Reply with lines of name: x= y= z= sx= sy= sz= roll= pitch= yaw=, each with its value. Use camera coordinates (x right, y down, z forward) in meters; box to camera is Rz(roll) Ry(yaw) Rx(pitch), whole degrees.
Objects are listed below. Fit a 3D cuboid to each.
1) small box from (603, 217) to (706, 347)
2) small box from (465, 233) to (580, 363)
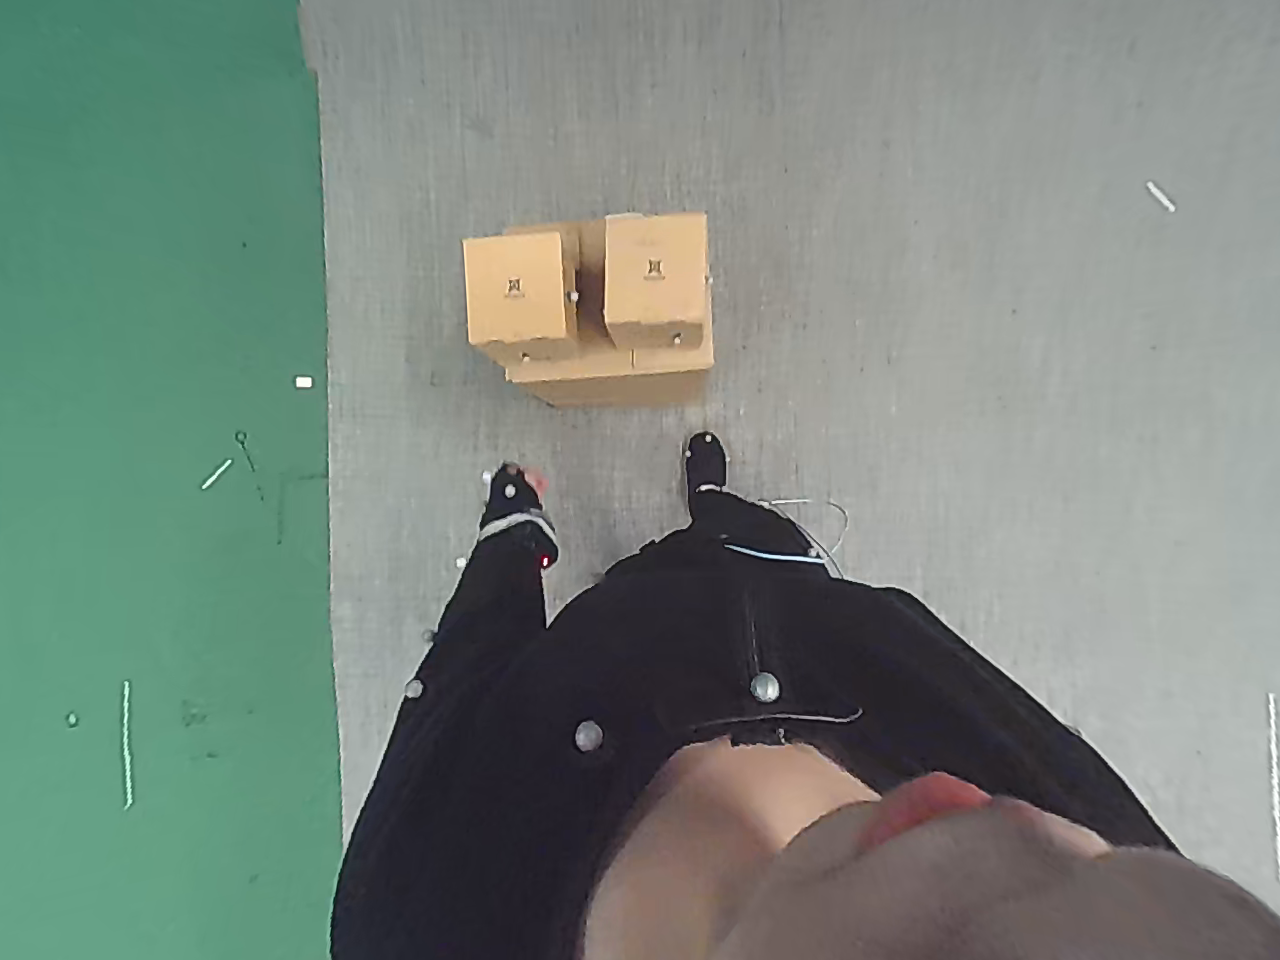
small box: x=0.032 y=-0.339 z=0.957 sx=0.168 sy=0.176 sz=0.179 roll=1 pitch=89 yaw=5
small box: x=-0.204 y=-0.319 z=0.976 sx=0.168 sy=0.176 sz=0.179 roll=-3 pitch=91 yaw=3
